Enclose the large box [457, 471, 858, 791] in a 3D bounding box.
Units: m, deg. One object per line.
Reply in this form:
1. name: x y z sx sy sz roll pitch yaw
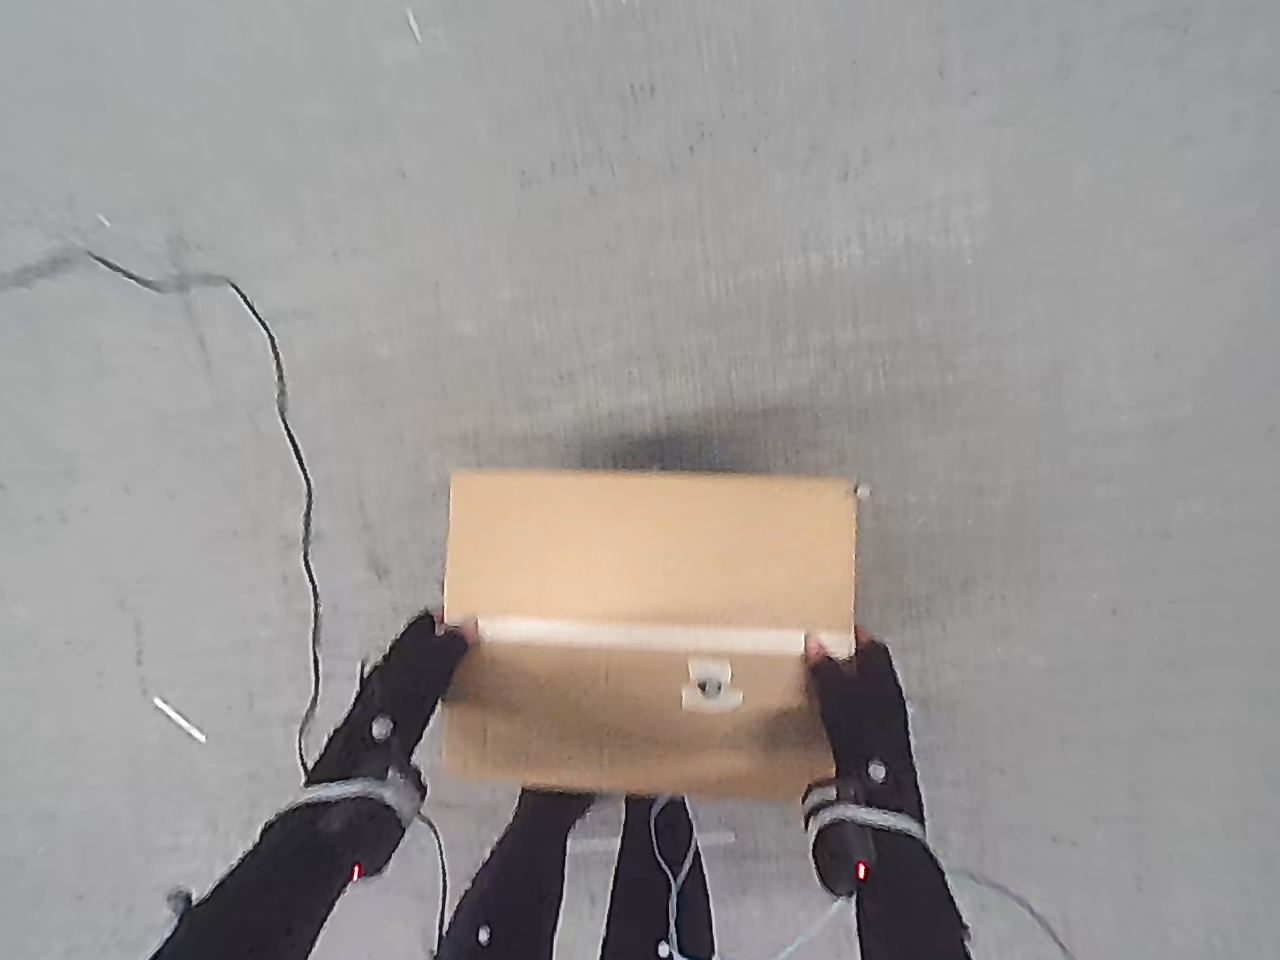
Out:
1. large box: 0.021 0.157 0.689 0.408 0.320 0.320 1 88 4
